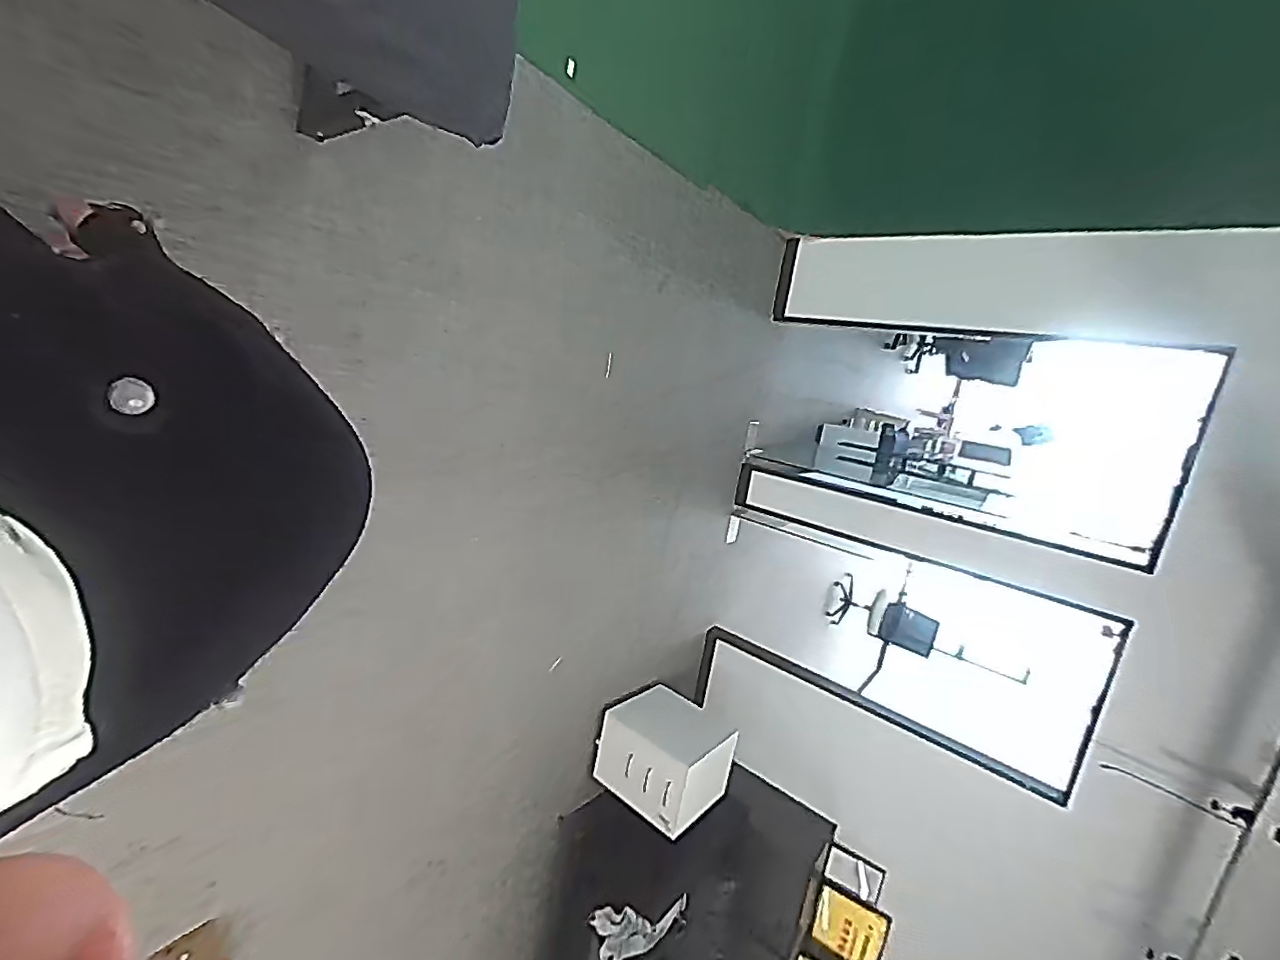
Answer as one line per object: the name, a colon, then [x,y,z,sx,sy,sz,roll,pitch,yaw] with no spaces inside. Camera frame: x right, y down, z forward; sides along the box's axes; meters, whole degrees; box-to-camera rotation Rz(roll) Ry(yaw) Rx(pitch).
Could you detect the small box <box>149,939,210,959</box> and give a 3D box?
small box: [-1.294,1.417,1.478,0.179,0.176,0.168,-46,139,-34]
